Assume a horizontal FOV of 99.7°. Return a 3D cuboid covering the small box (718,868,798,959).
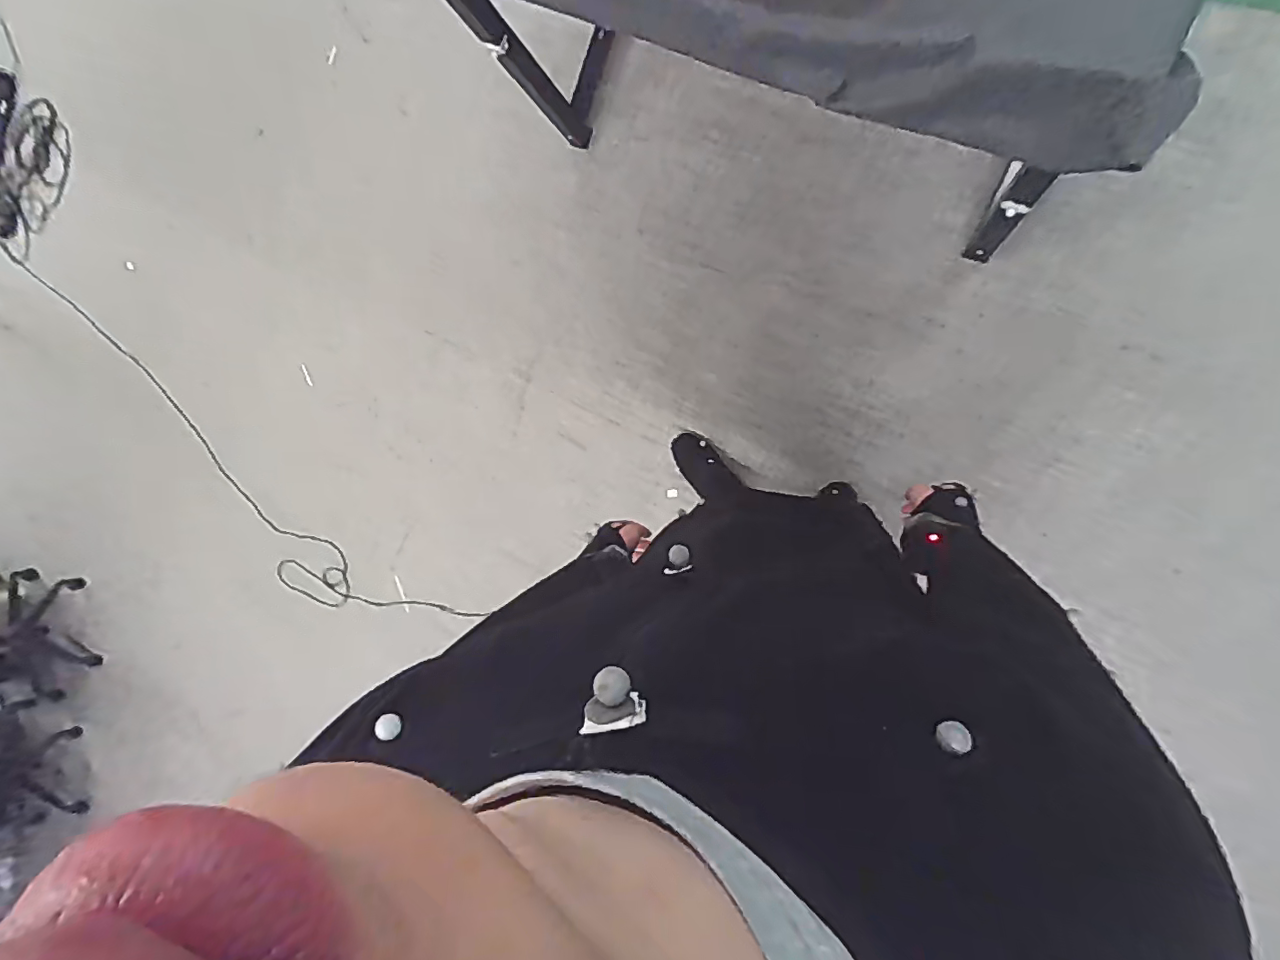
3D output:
[{"bbox_3d":[0.333,1.244,1.498,0.168,0.176,0.179,21,99,15],"label":"small box"}]
